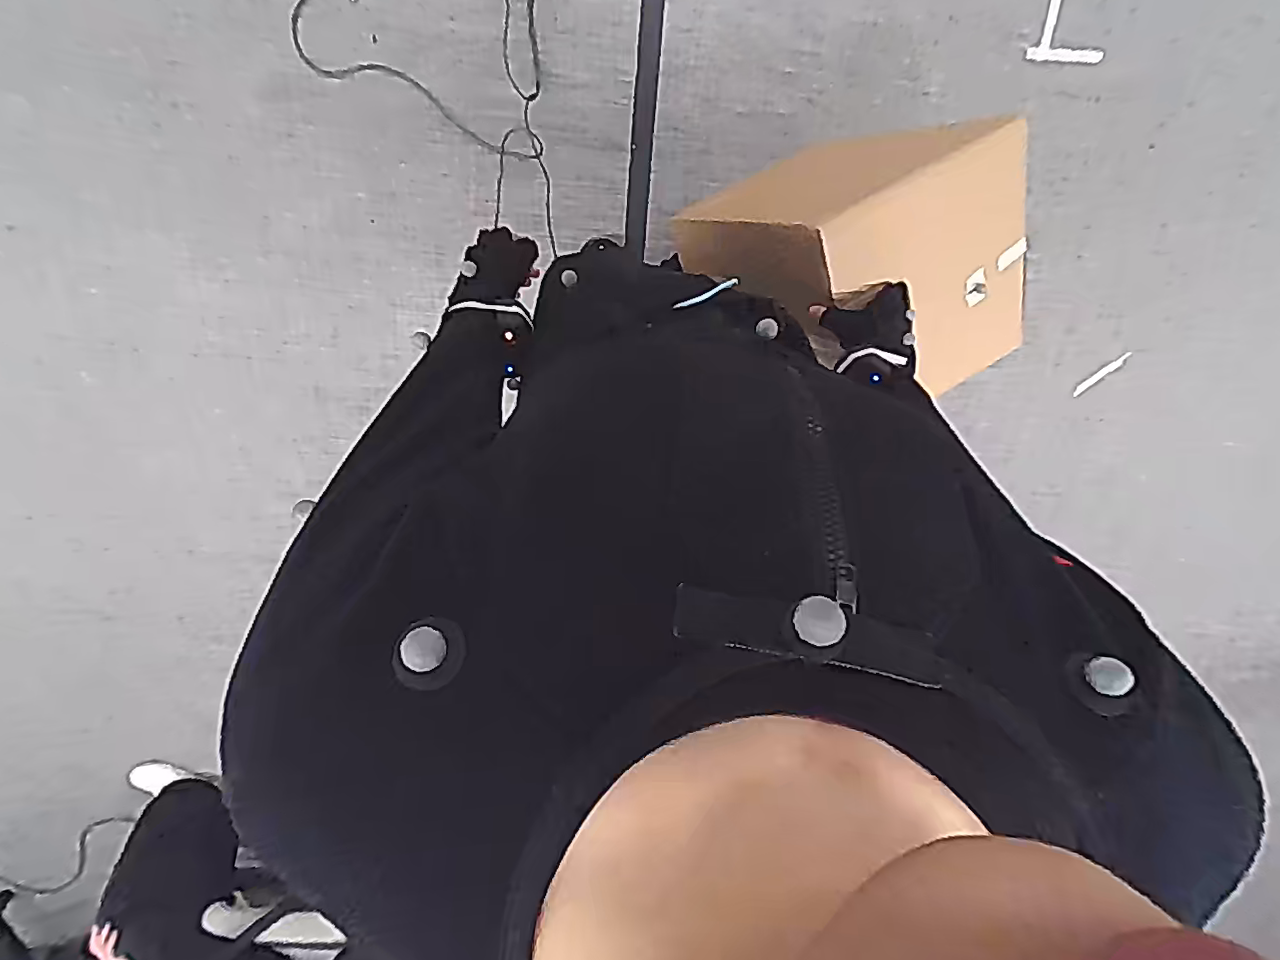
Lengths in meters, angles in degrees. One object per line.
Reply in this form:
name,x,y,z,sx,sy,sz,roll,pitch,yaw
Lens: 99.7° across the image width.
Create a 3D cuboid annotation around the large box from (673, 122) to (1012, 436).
large box,0.311,-0.331,0.888,0.320,0.408,0.320,-30,123,-6
